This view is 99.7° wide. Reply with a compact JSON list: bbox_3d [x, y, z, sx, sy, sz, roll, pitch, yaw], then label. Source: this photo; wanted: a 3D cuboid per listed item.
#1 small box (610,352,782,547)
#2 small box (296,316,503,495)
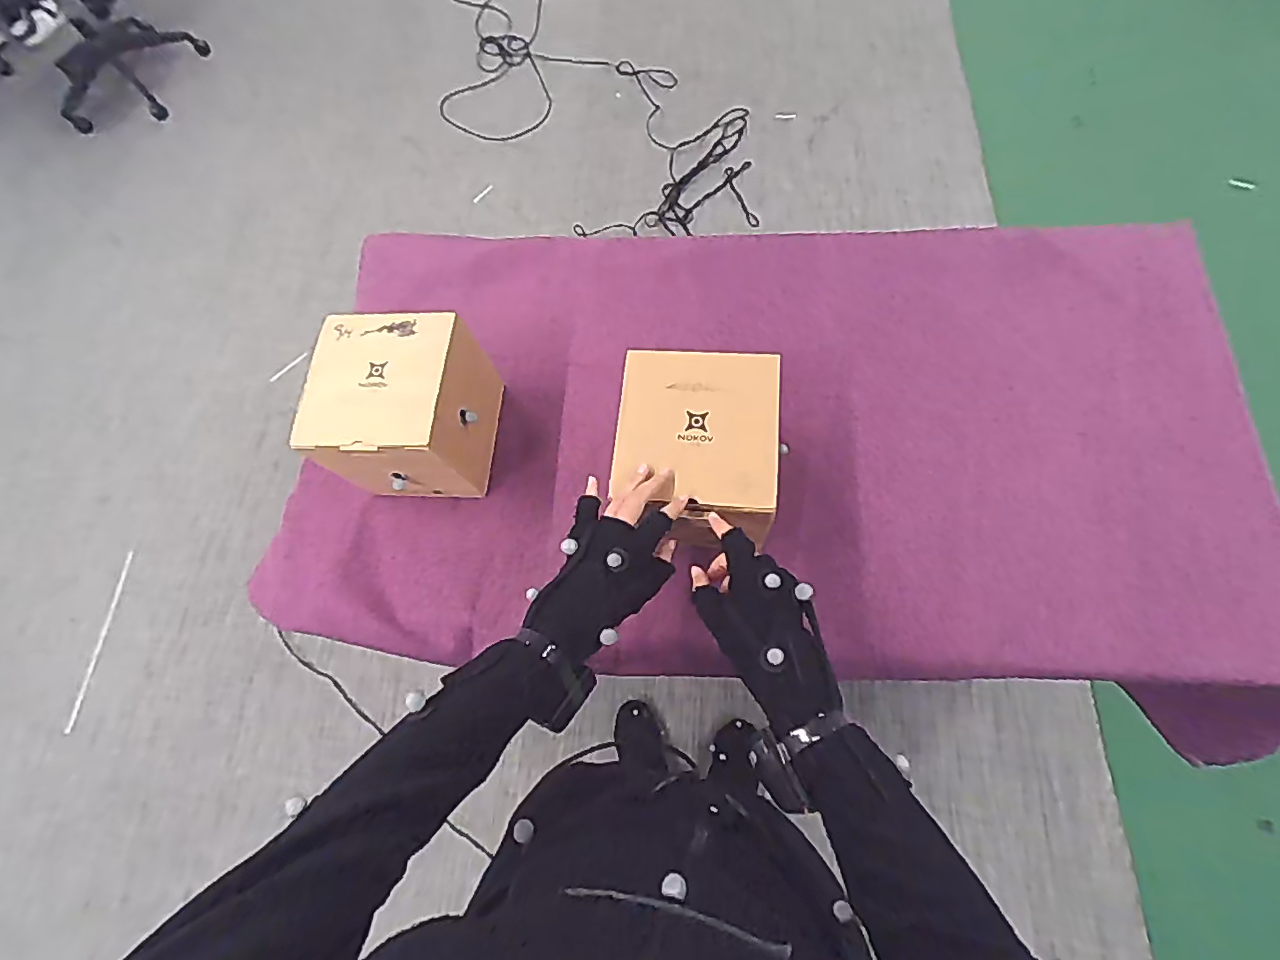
[{"bbox_3d":[0.068,-0.026,0.627,0.168,0.176,0.179,4,70,8],"label":"small box"},{"bbox_3d":[-0.287,-0.085,0.688,0.168,0.176,0.179,1,70,6],"label":"small box"}]
